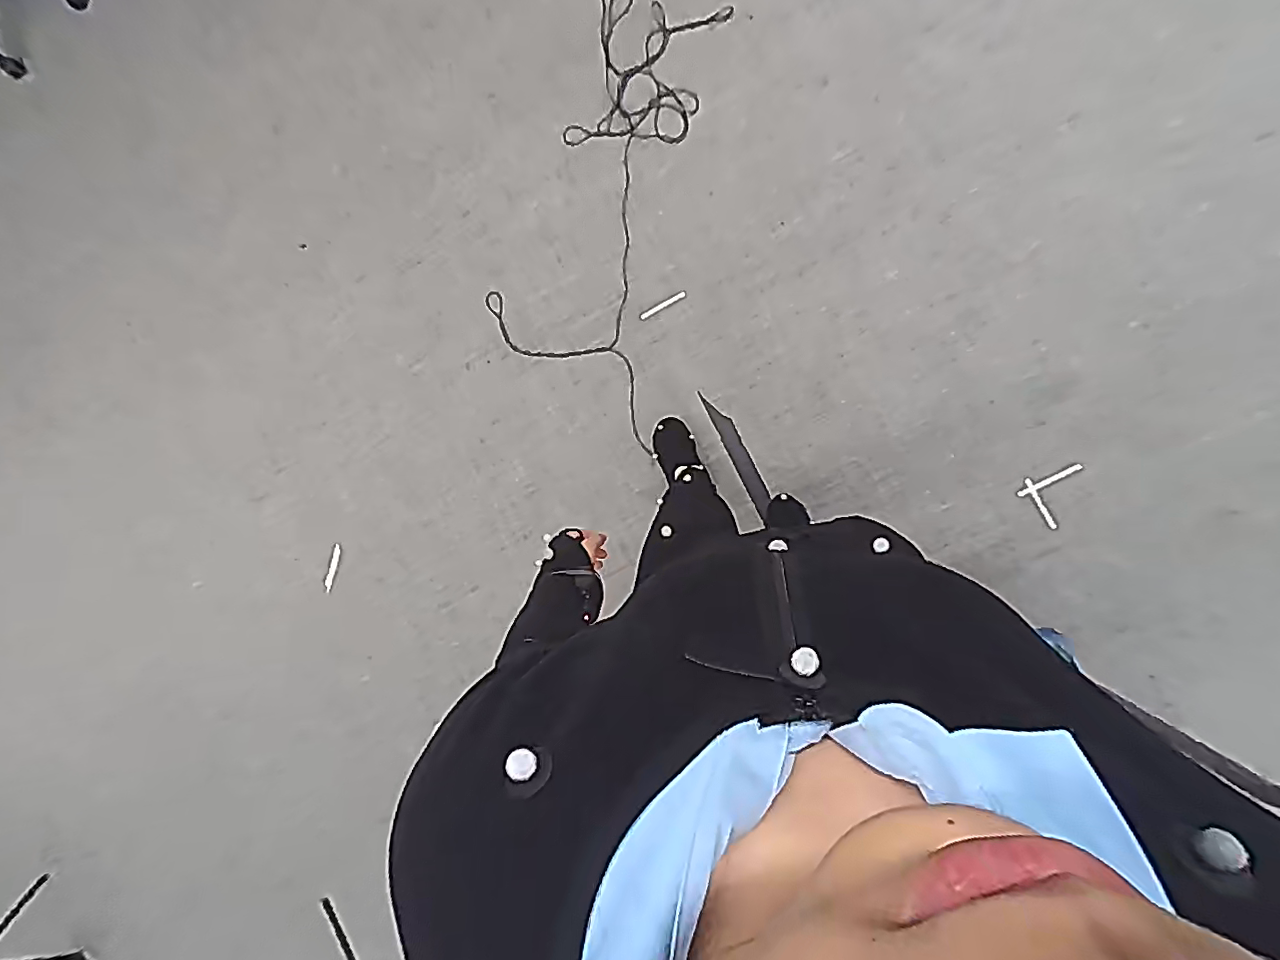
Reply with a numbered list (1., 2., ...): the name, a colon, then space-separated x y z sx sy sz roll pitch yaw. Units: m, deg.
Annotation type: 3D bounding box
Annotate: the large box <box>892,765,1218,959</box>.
1. large box: 0.791 0.834 1.077 0.408 0.320 0.320 -20 87 10
